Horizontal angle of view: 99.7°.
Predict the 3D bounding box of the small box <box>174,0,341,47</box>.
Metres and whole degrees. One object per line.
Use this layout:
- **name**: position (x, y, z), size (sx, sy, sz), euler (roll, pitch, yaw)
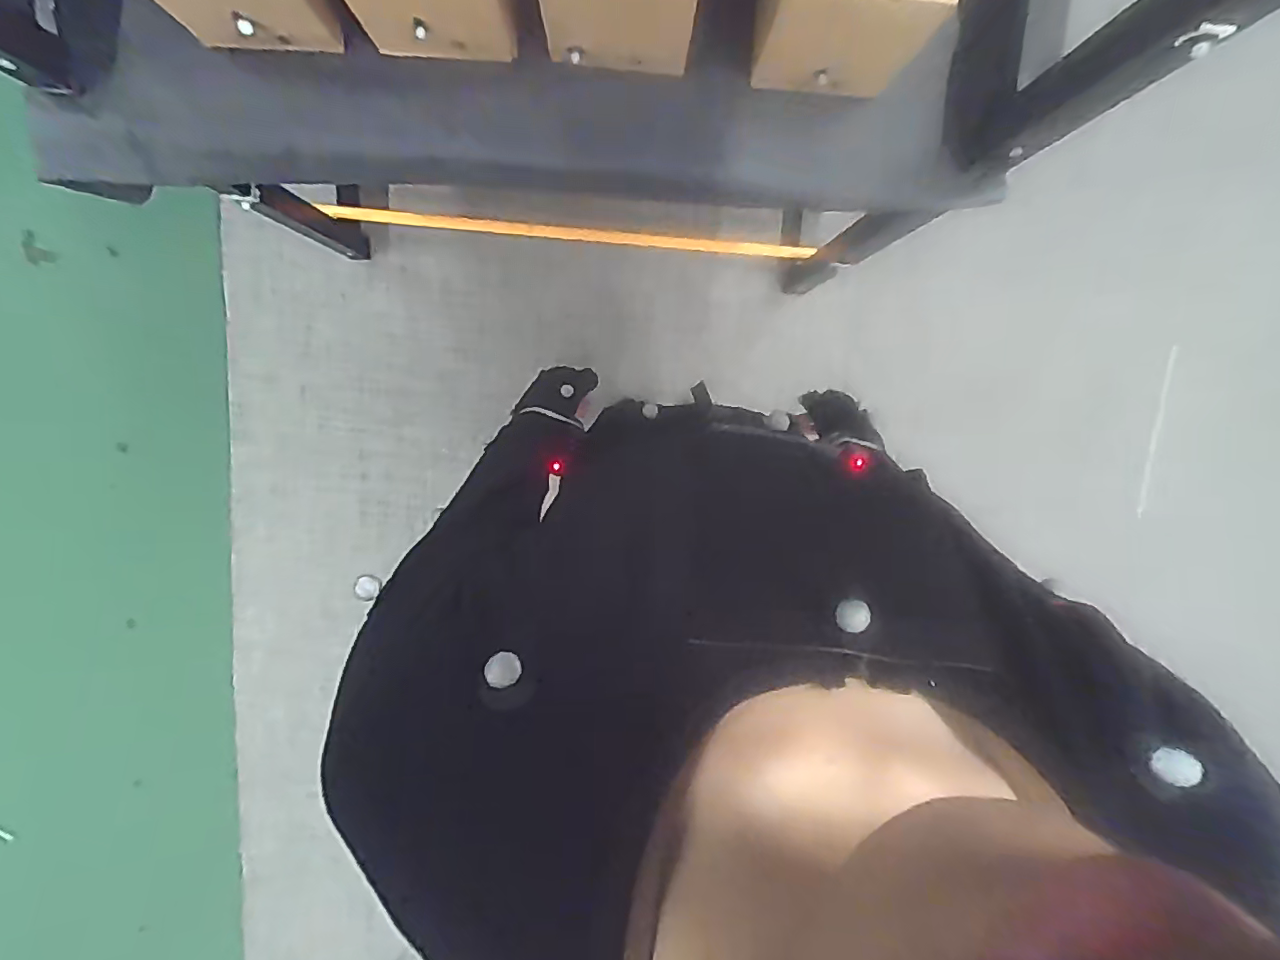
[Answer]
- **small box**: position (-0.432, -0.599, 0.555), size (0.168, 0.176, 0.179), euler (2, 98, -2)
